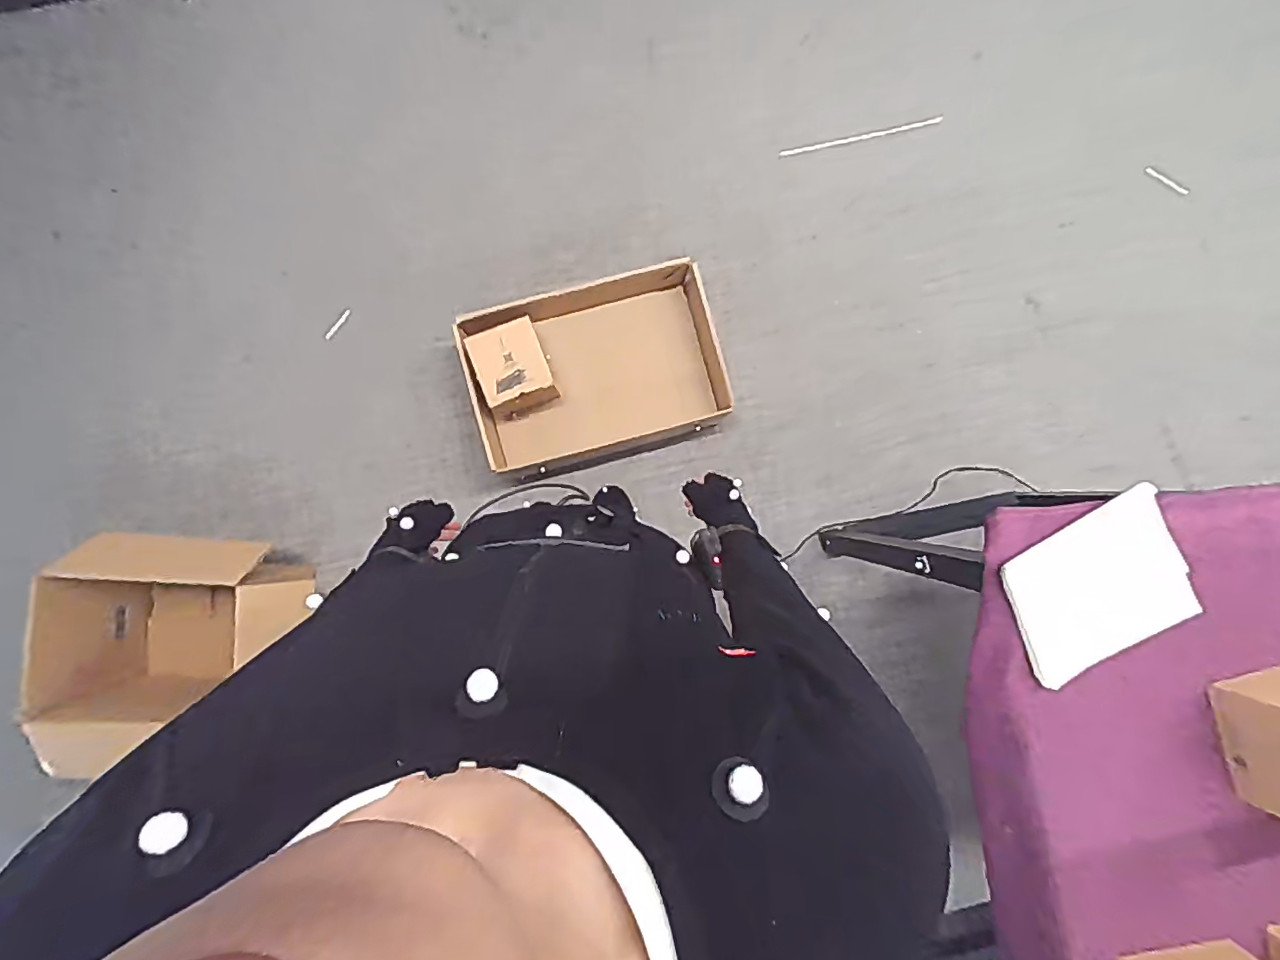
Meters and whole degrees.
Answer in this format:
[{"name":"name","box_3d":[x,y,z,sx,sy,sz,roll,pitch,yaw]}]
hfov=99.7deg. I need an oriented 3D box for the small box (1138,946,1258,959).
[{"name":"small box","box_3d":[0.773,0.735,0.676,0.179,0.176,0.168,-7,88,-2]}]
